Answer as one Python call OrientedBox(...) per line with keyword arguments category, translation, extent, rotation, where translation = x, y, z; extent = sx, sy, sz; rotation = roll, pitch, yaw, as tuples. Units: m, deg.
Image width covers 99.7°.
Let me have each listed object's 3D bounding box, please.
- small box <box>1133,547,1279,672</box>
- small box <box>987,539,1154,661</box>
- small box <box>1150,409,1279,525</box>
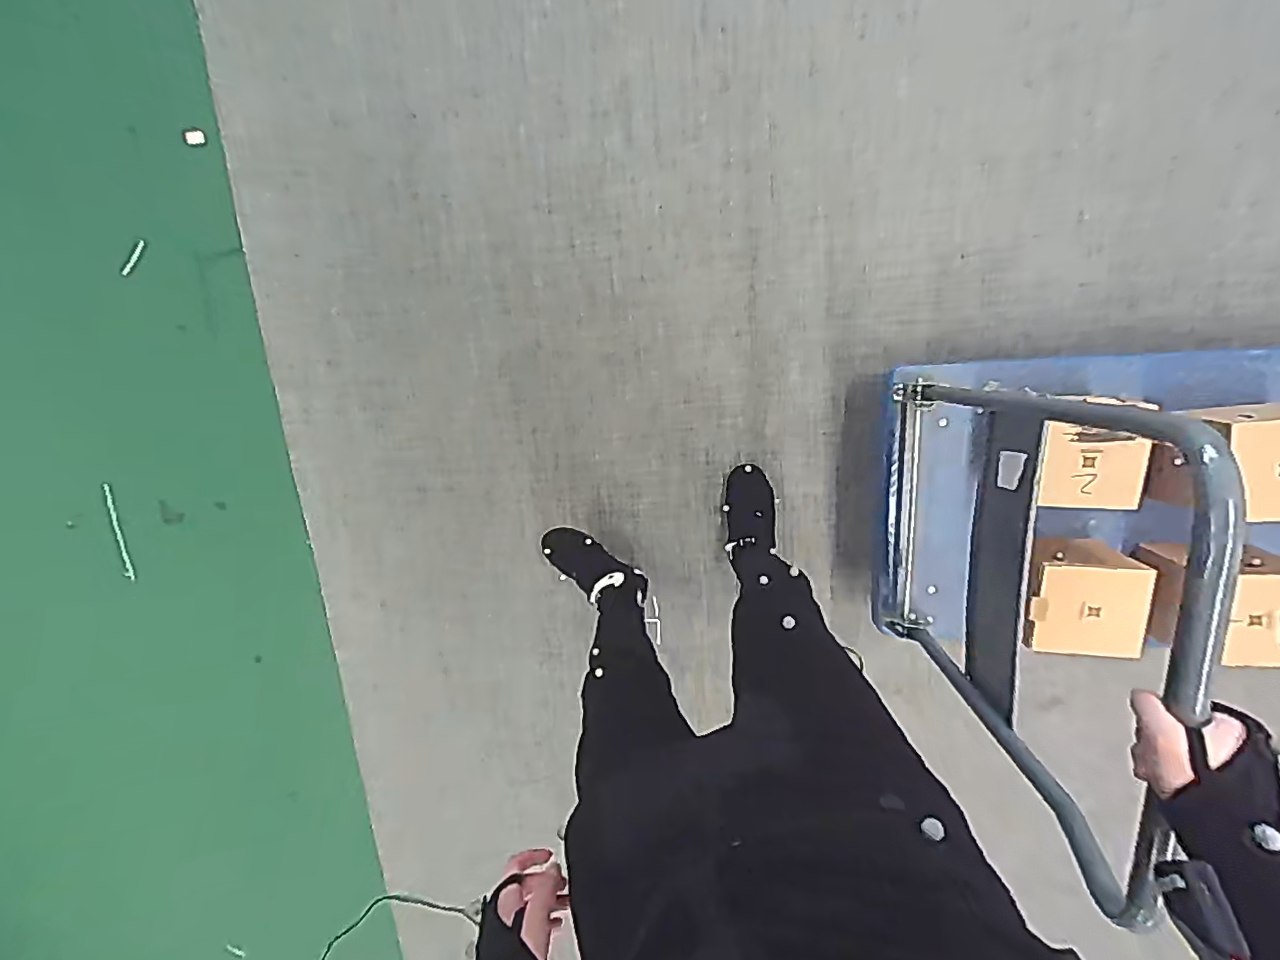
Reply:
OrientedBox(category="small box", translation=(1.033, 0.222, 0.968), extent=(0.179, 0.176, 0.168), rotation=(-1, 101, 11))
OrientedBox(category="small box", translation=(0.789, 0.214, 1.010), extent=(0.179, 0.176, 0.168), rotation=(2, 102, 11))
OrientedBox(category="small box", translation=(1.023, -0.026, 0.915), extent=(0.179, 0.176, 0.168), rotation=(-4, 102, 11))
